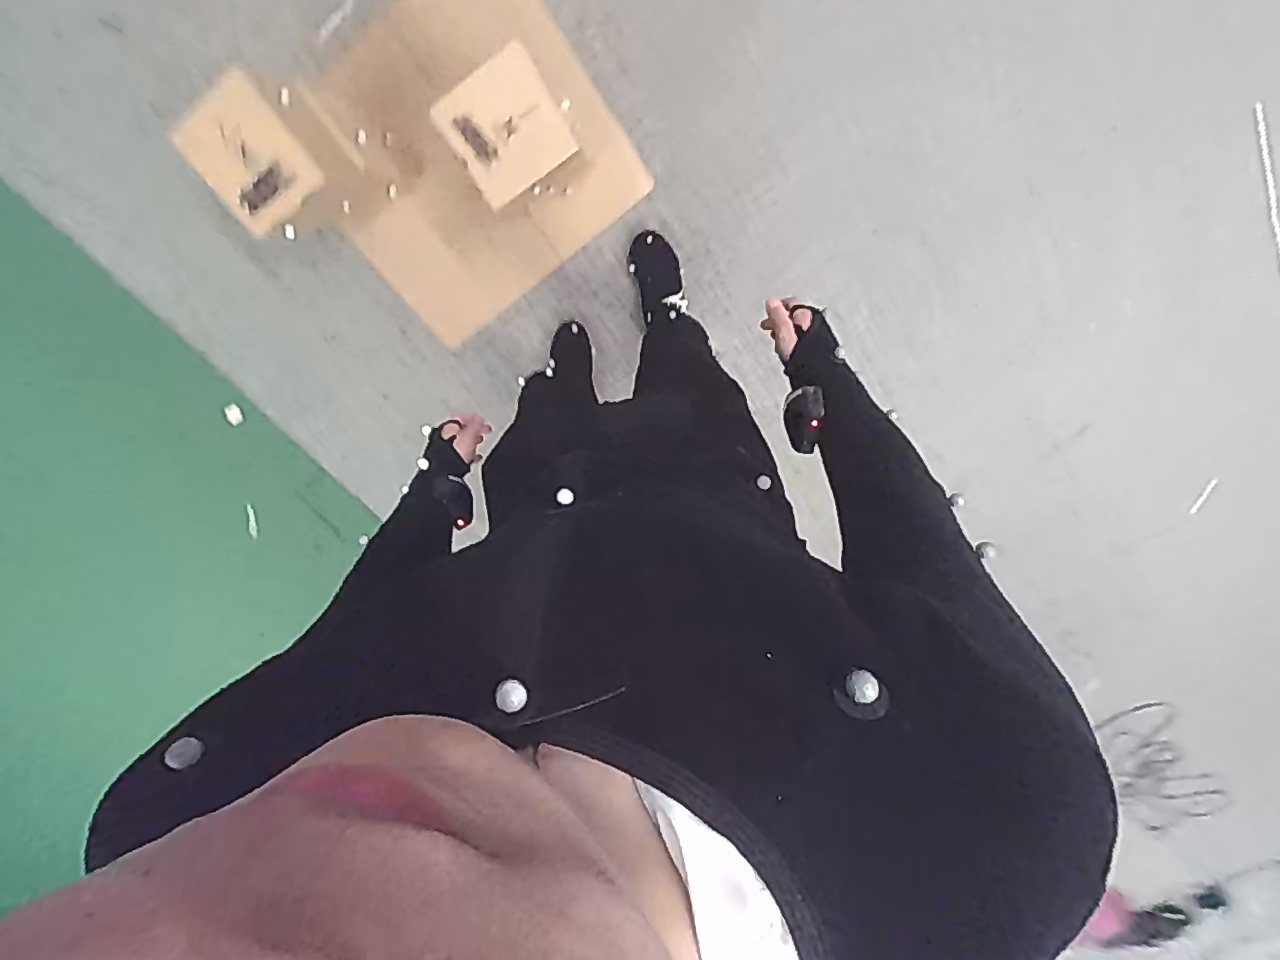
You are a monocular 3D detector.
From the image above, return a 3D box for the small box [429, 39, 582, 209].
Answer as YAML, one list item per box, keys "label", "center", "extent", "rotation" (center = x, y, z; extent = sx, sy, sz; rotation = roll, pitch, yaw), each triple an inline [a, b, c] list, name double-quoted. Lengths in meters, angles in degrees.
- label: "small box"
  center: [-0.213, -0.584, 0.912]
  extent: [0.179, 0.176, 0.168]
  rotation: [-29, 116, 13]

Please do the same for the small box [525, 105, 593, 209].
- label: "small box"
  center: [-0.220, -0.733, 1.204]
  extent: [0.179, 0.176, 0.168]
  rotation: [-30, 114, 14]

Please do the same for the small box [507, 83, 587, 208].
- label: "small box"
  center: [-0.218, -0.659, 1.058]
  extent: [0.179, 0.176, 0.168]
  rotation: [-28, 116, 13]

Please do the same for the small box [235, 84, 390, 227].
- label: "small box"
  center: [-0.624, -0.629, 1.061]
  extent: [0.179, 0.176, 0.168]
  rotation: [-31, 115, 15]

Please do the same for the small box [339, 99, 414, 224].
- label: "small box"
  center: [-0.633, -0.702, 1.205]
  extent: [0.179, 0.176, 0.168]
  rotation: [-32, 114, 15]
